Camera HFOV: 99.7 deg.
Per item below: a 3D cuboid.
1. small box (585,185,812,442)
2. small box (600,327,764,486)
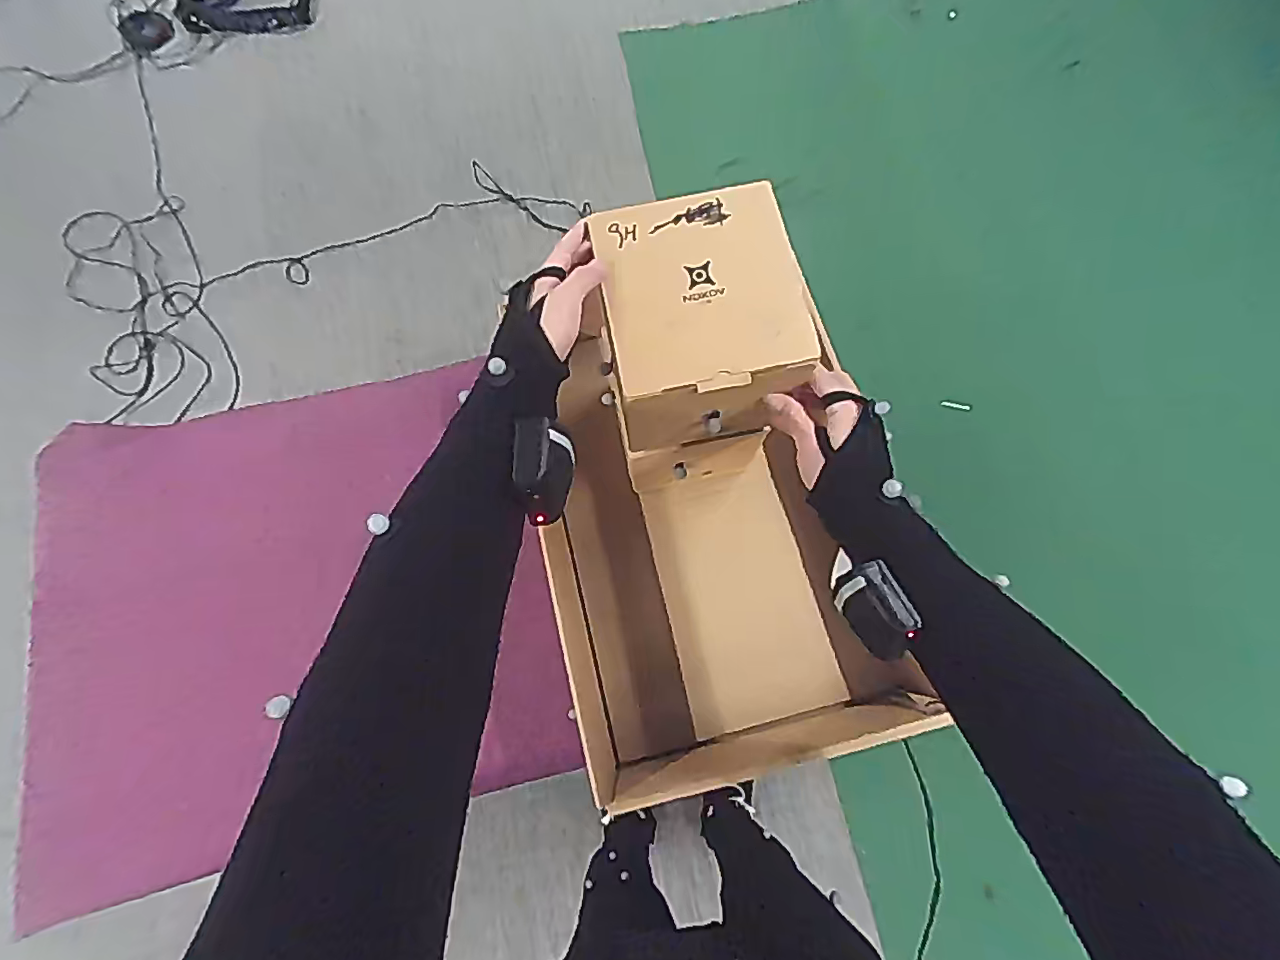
[{"bbox_3d":[0.049,-0.144,0.532,0.168,0.176,0.179,-11,79,-1],"label":"small box"},{"bbox_3d":[0.052,-0.099,0.708,0.168,0.176,0.179,-12,74,-1],"label":"small box"}]
